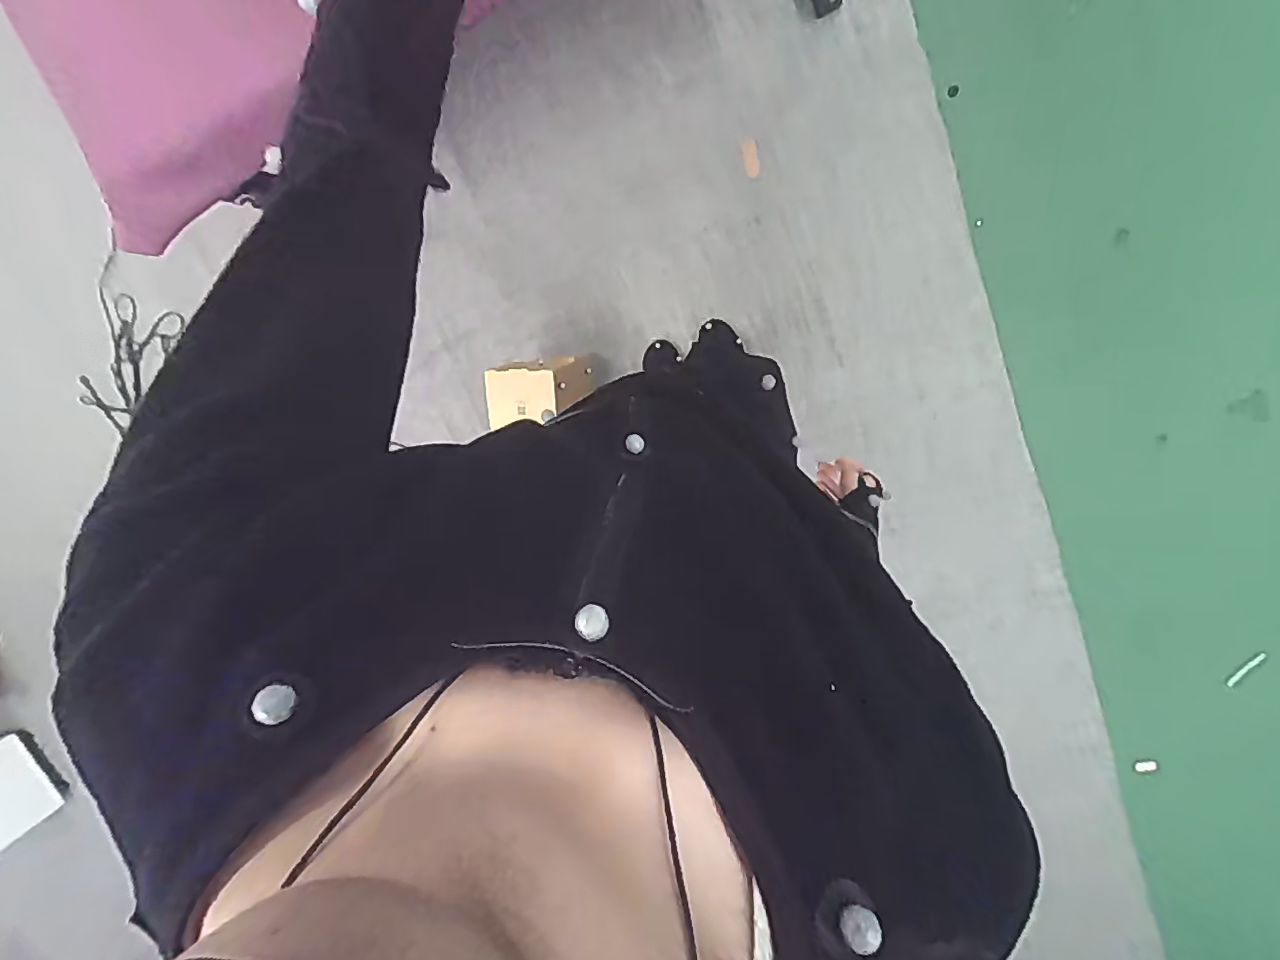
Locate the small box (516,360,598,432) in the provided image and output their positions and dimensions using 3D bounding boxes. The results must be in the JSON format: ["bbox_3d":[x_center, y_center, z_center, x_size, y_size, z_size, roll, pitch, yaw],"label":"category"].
[{"bbox_3d":[-0.219,-0.224,1.439,0.168,0.176,0.179,-4,107,12],"label":"small box"}]

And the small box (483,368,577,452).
[{"bbox_3d":[-0.254,-0.172,1.290,0.168,0.176,0.179,2,106,11],"label":"small box"}]
